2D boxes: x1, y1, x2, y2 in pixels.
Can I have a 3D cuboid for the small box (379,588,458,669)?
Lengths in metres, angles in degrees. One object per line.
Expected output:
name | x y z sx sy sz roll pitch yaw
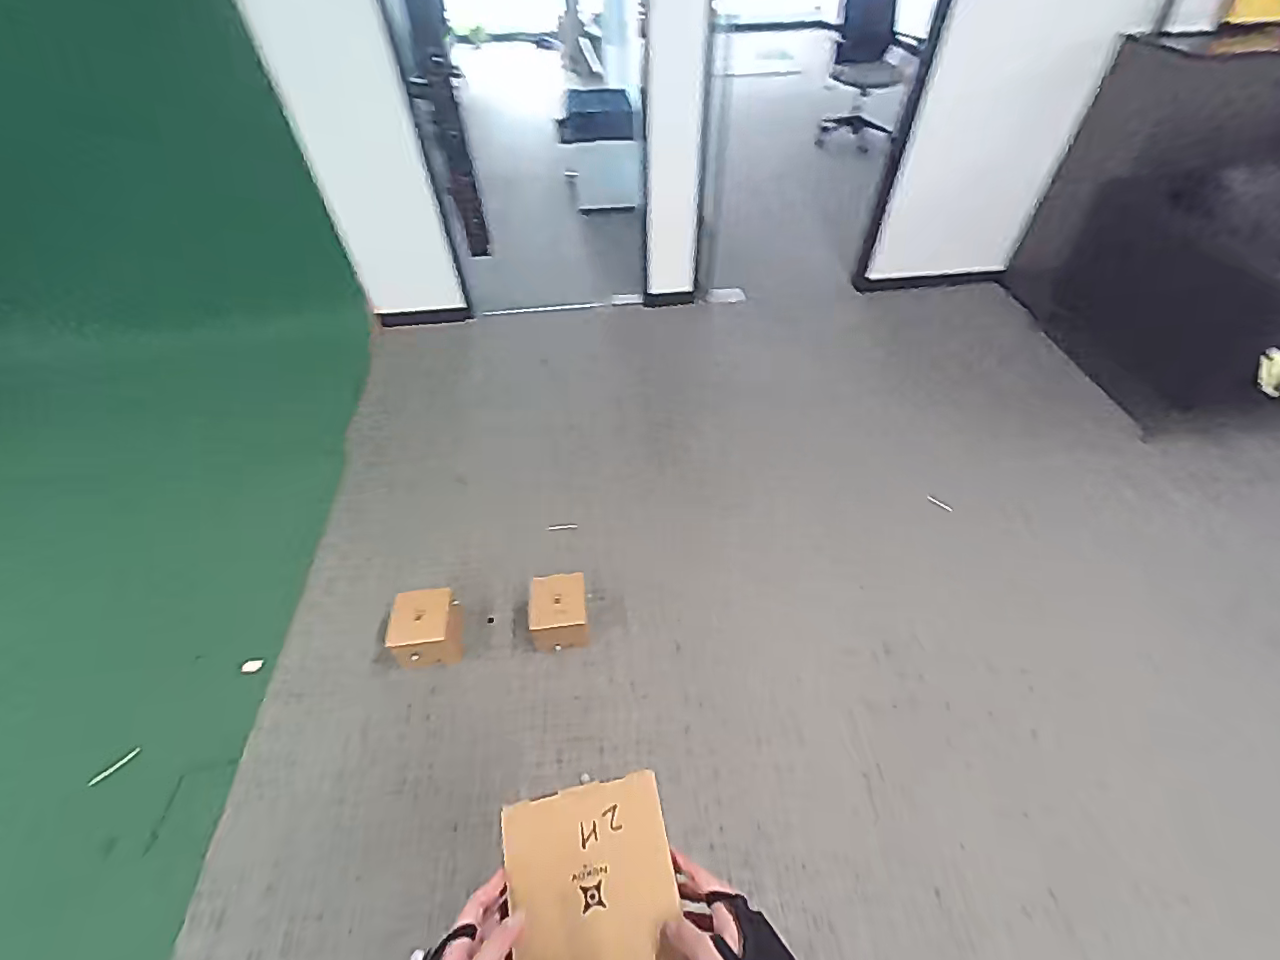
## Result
small box | -0.653 0.451 1.618 0.168 0.176 0.179 -6 48 -4

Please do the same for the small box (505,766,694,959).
small box | -0.044 0.428 0.591 0.168 0.176 0.179 -9 60 -7

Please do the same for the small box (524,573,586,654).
small box | -0.257 0.409 1.652 0.168 0.176 0.179 -6 49 -4
